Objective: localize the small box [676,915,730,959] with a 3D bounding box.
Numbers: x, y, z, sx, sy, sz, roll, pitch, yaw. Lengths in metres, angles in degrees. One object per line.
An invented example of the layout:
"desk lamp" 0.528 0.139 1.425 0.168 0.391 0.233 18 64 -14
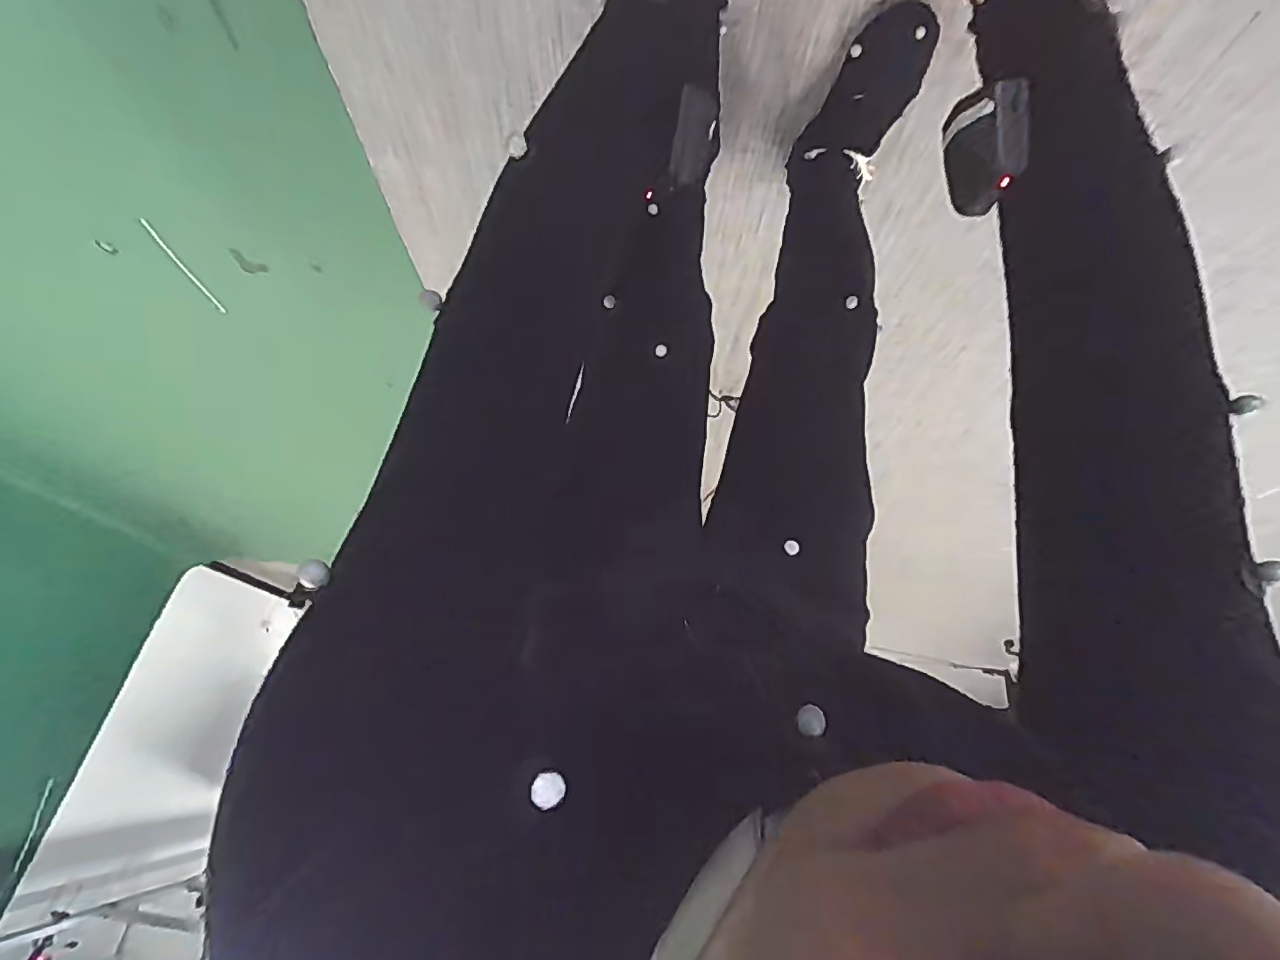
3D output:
"small box" 0.220 1.672 1.905 0.179 0.176 0.168 7 153 6
